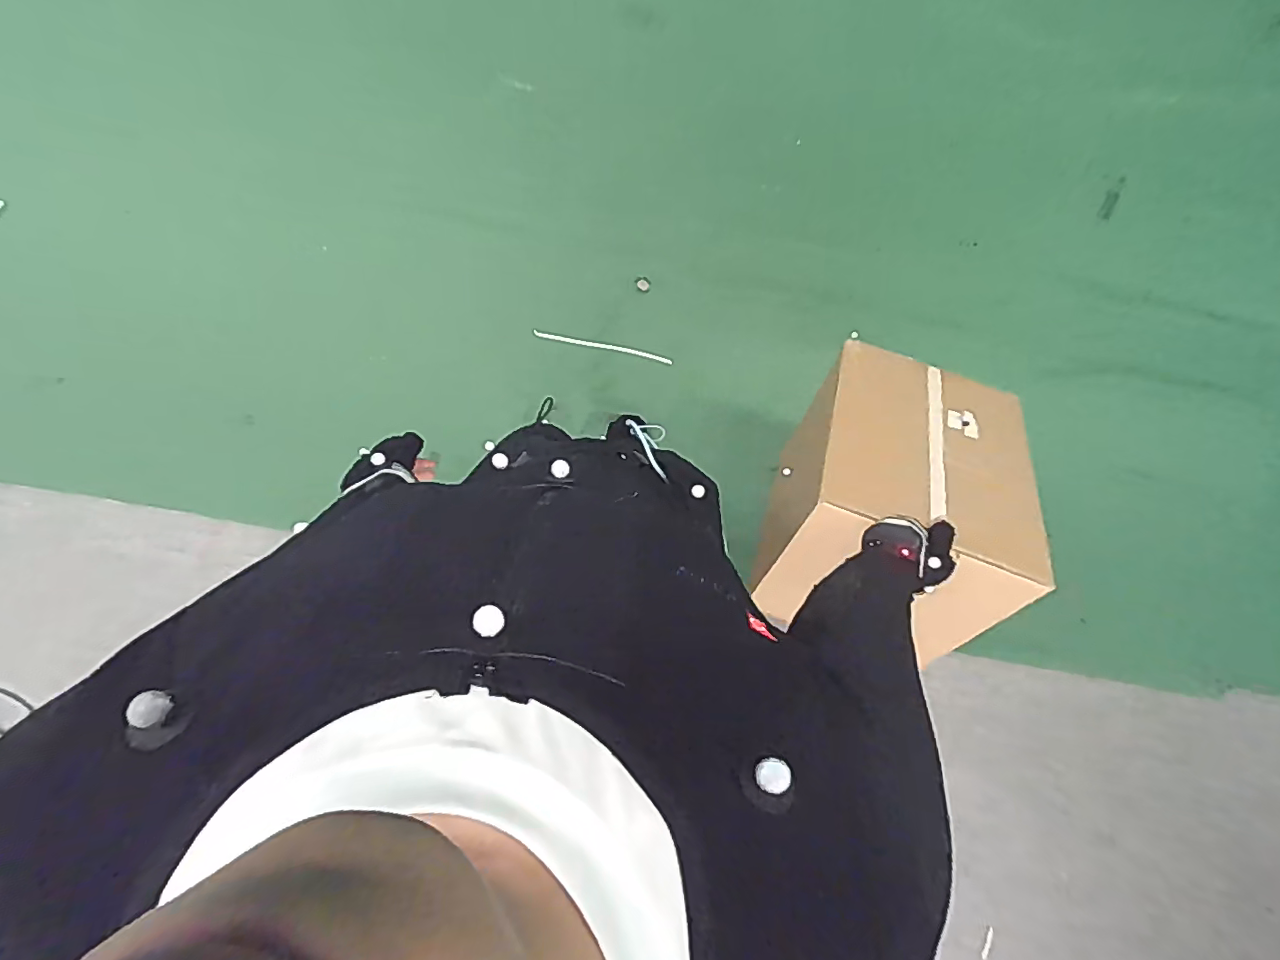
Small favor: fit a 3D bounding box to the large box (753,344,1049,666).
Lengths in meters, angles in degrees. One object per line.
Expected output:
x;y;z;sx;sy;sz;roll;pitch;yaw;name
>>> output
0.420;0.040;0.941;0.320;0.408;0.320;22;140;4;large box
